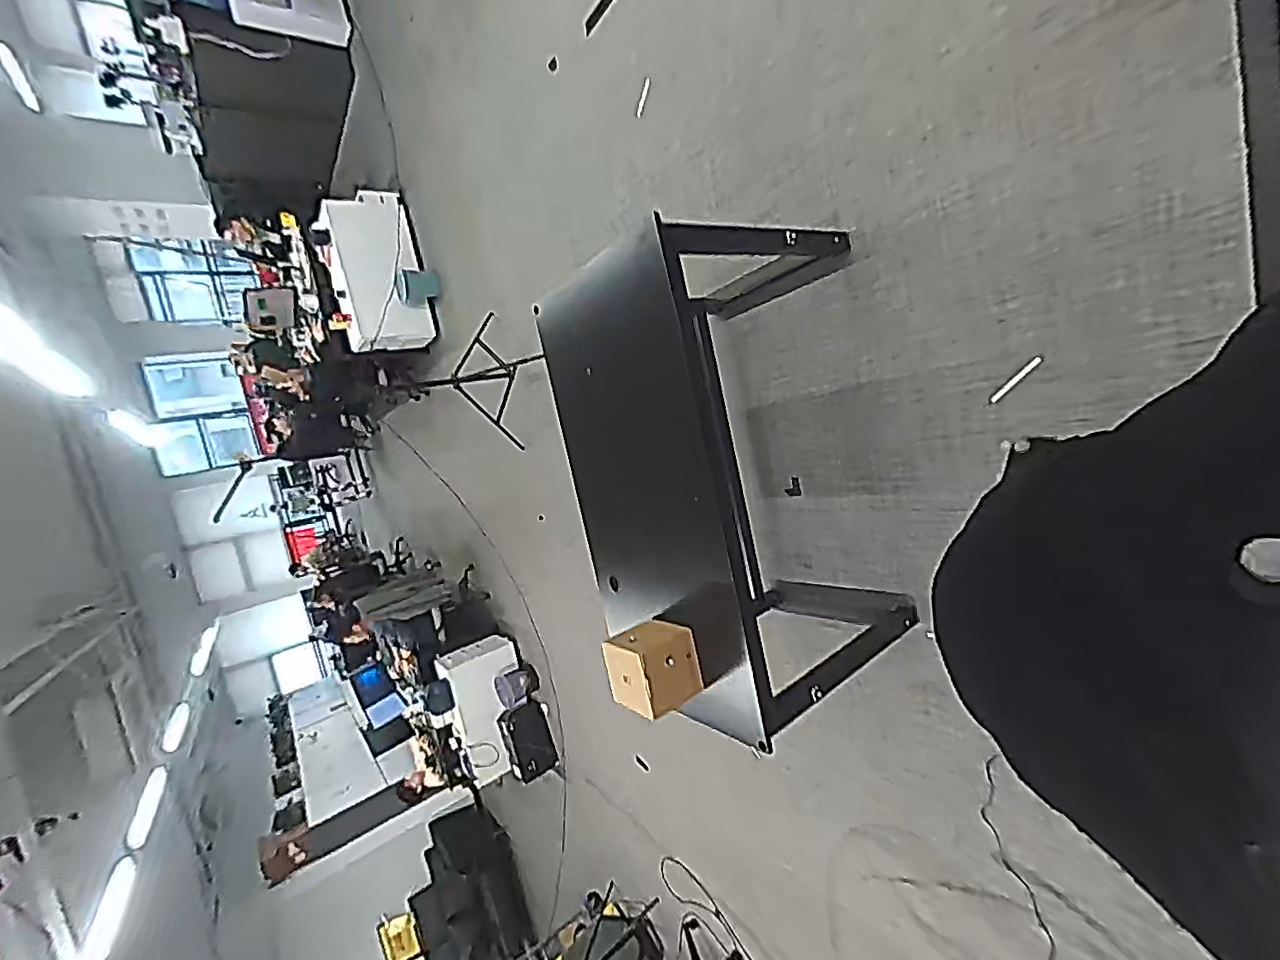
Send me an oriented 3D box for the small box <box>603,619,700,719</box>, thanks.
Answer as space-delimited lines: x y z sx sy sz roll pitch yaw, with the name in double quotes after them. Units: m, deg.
0.035 0.468 1.371 0.179 0.176 0.168 -6 97 56 "small box"
